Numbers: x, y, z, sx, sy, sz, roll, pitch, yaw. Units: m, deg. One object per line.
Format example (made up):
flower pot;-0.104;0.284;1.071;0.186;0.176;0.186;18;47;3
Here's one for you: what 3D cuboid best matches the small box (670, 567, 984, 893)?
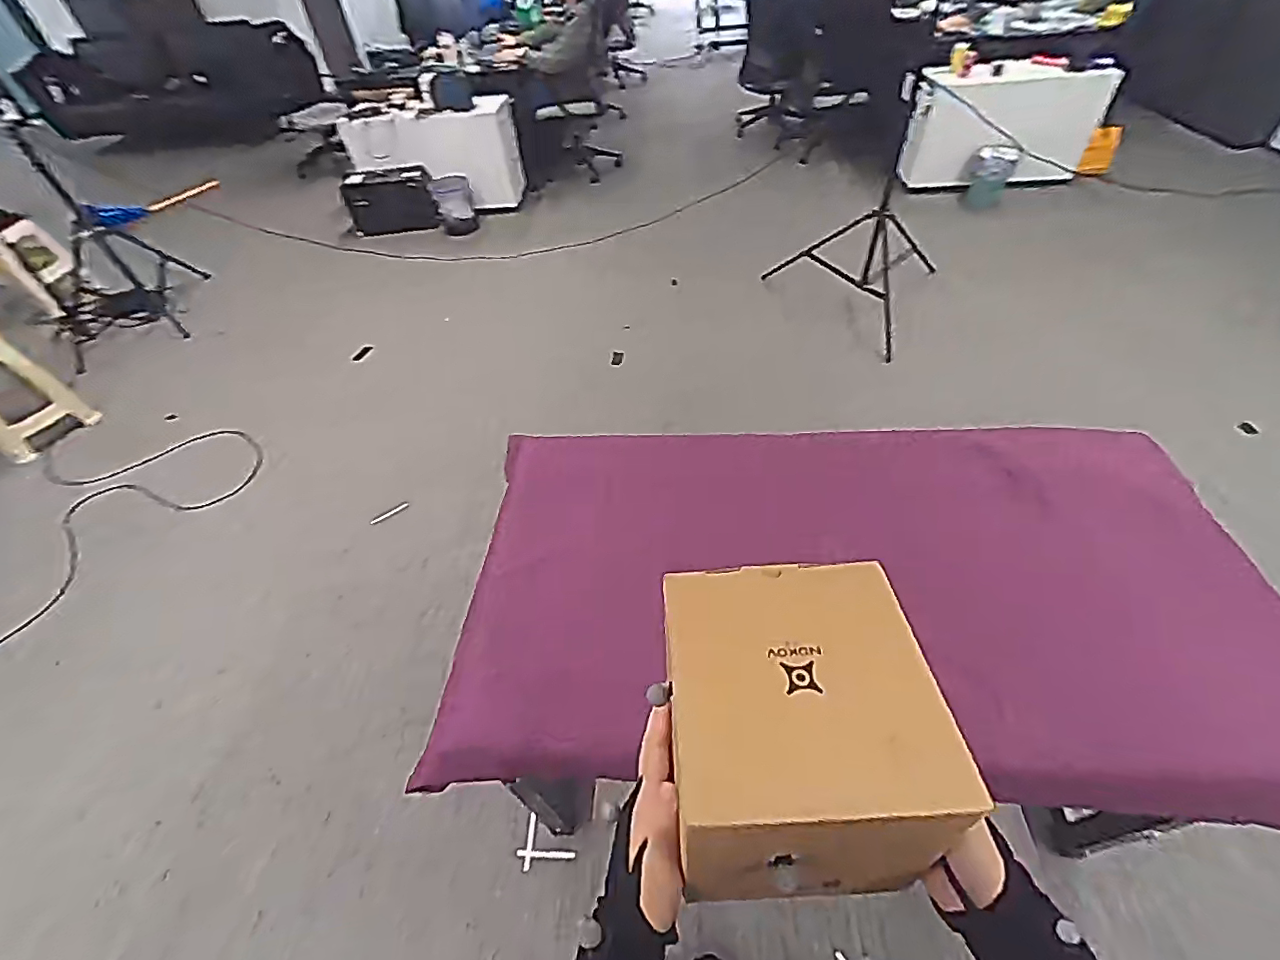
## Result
small box;0.111;0.189;0.408;0.168;0.176;0.179;-3;40;1
